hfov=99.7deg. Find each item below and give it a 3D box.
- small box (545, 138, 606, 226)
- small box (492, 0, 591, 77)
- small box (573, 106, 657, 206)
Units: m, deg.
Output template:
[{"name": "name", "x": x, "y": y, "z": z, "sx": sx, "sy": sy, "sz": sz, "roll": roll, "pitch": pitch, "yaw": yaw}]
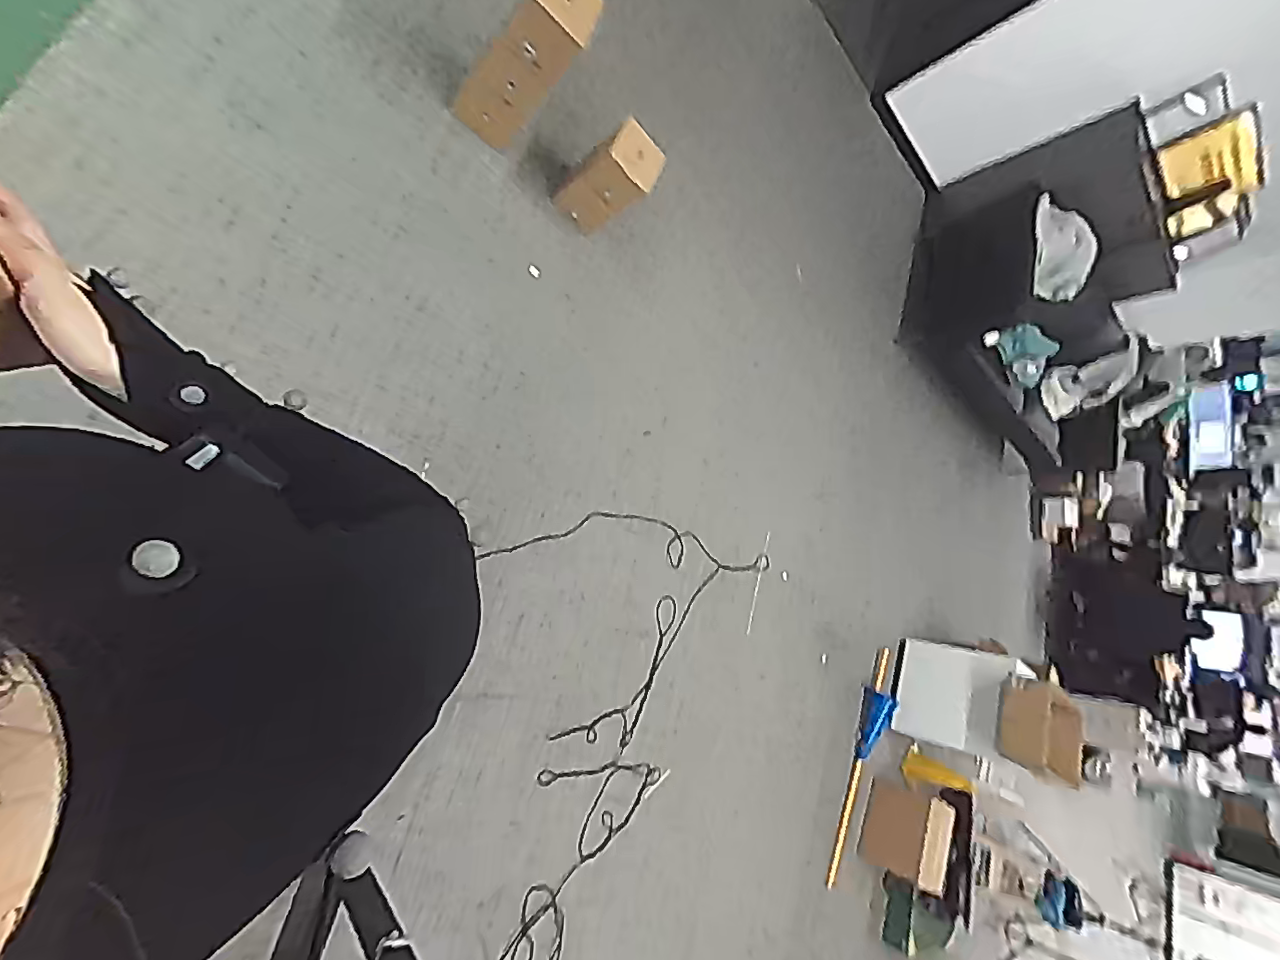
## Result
[{"name": "small box", "x": -0.191, "y": -0.998, "z": 1.815, "sx": 0.168, "sy": 0.176, "sz": 0.179, "roll": 36, "pitch": 67, "yaw": -33}, {"name": "small box", "x": -0.245, "y": -1.173, "z": 1.347, "sx": 0.168, "sy": 0.176, "sz": 0.179, "roll": 26, "pitch": 72, "yaw": -35}, {"name": "small box", "x": -0.082, "y": -1.005, "z": 1.691, "sx": 0.168, "sy": 0.176, "sz": 0.179, "roll": 34, "pitch": 67, "yaw": -34}]
